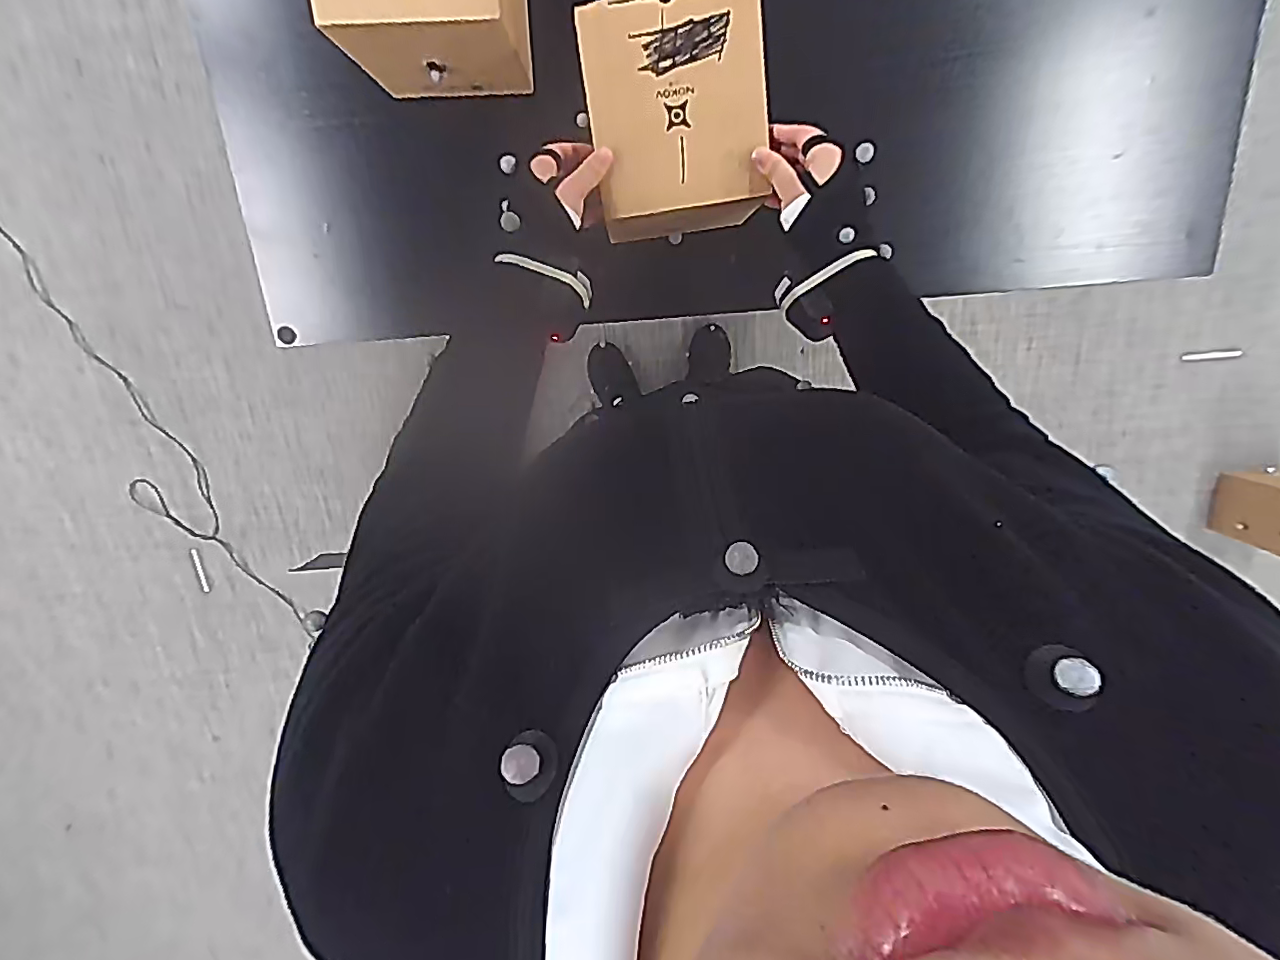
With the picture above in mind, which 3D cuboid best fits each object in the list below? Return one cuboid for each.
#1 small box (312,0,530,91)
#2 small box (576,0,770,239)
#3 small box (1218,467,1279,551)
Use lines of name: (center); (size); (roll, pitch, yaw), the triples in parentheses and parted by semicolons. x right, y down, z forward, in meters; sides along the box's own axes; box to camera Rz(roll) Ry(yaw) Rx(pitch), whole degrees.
small box: (-0.209, -0.510, 0.532); (0.168, 0.176, 0.179); (-2, 106, 0)
small box: (0.033, -0.370, 0.572); (0.168, 0.176, 0.179); (-8, 106, 3)
small box: (1.728, 0.073, 1.452); (0.168, 0.176, 0.179); (-5, 106, 1)
